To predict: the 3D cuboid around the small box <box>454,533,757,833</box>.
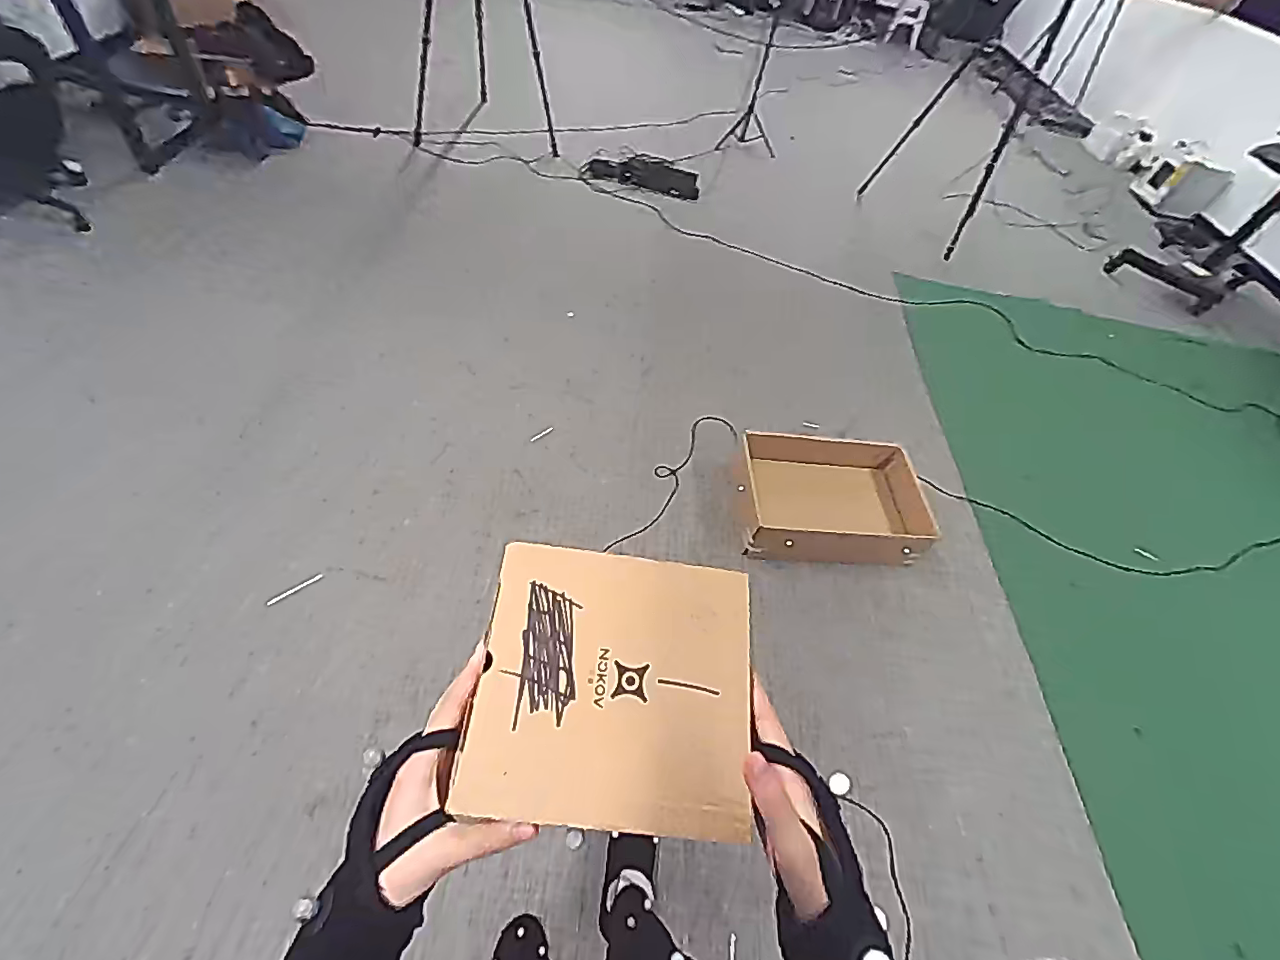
[{"bbox_3d":[-0.021,0.159,0.411,0.179,0.176,0.168,10,59,-4],"label":"small box"}]
